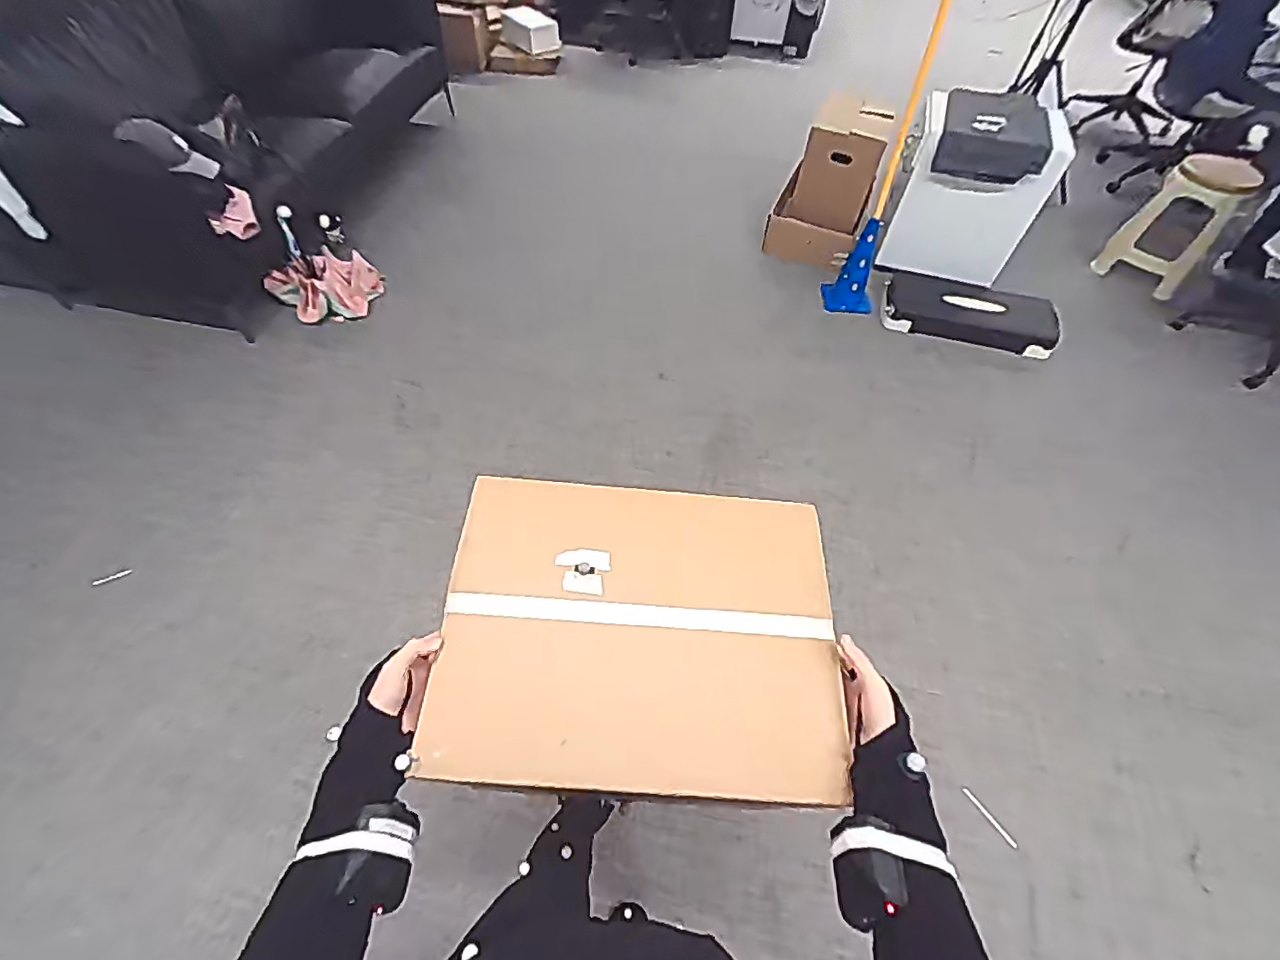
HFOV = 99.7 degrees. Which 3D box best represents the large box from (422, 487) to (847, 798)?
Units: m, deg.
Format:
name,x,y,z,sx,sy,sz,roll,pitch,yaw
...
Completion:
name,x,y,z,sx,sy,sz,roll,pitch,yaw
large box,-0.004,0.227,0.703,0.408,0.320,0.320,5,57,-1
